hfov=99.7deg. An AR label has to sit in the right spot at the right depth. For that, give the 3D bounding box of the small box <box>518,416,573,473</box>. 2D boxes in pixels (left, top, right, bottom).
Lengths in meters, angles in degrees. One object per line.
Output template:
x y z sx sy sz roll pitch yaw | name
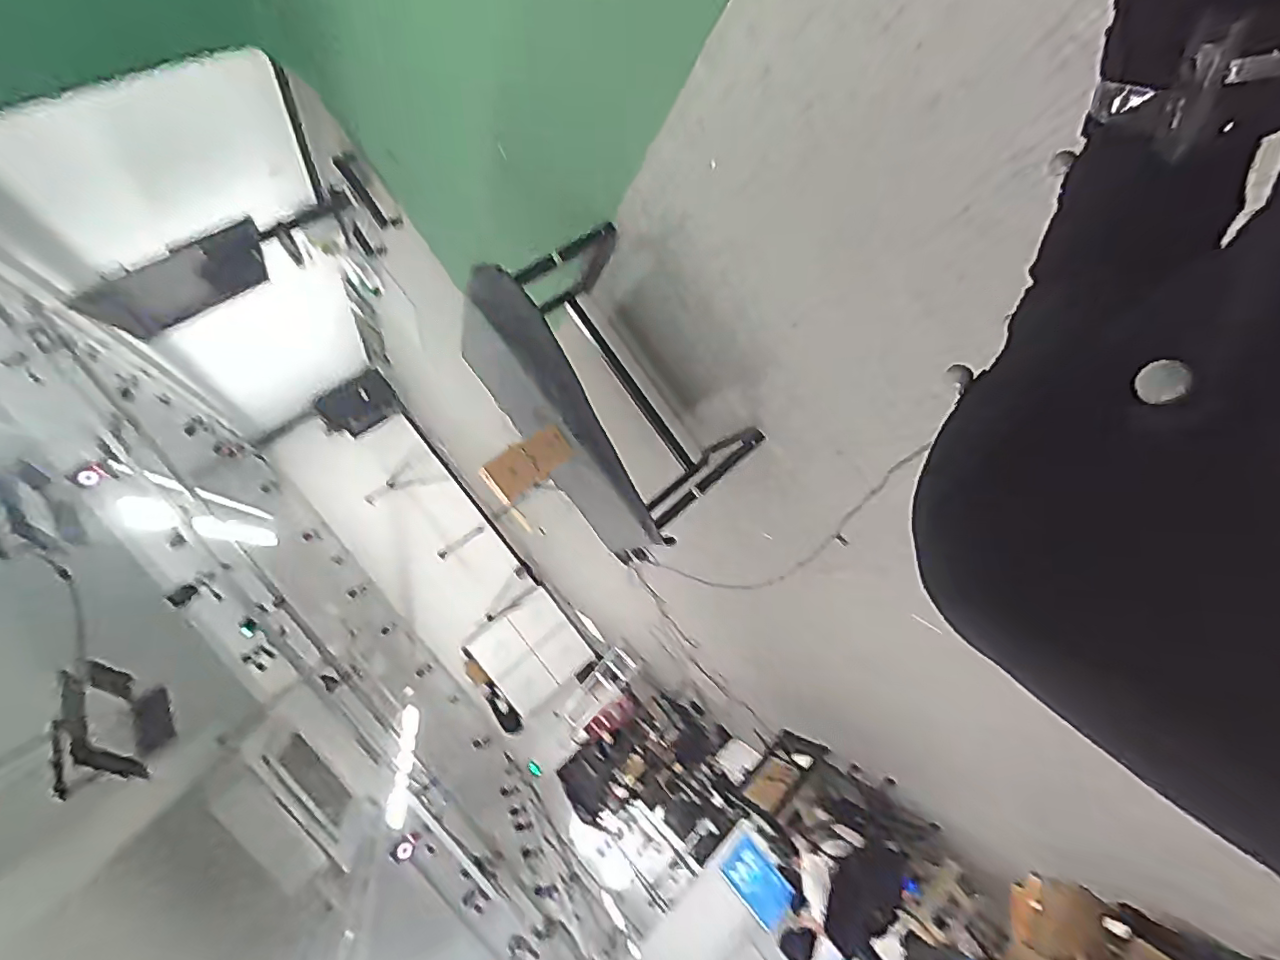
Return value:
-0.401 -0.143 2.246 0.168 0.176 0.179 53 158 -6 | small box

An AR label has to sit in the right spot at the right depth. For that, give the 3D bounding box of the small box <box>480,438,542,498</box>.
-0.521 -0.052 2.178 0.179 0.176 0.168 54 159 -3 | small box
